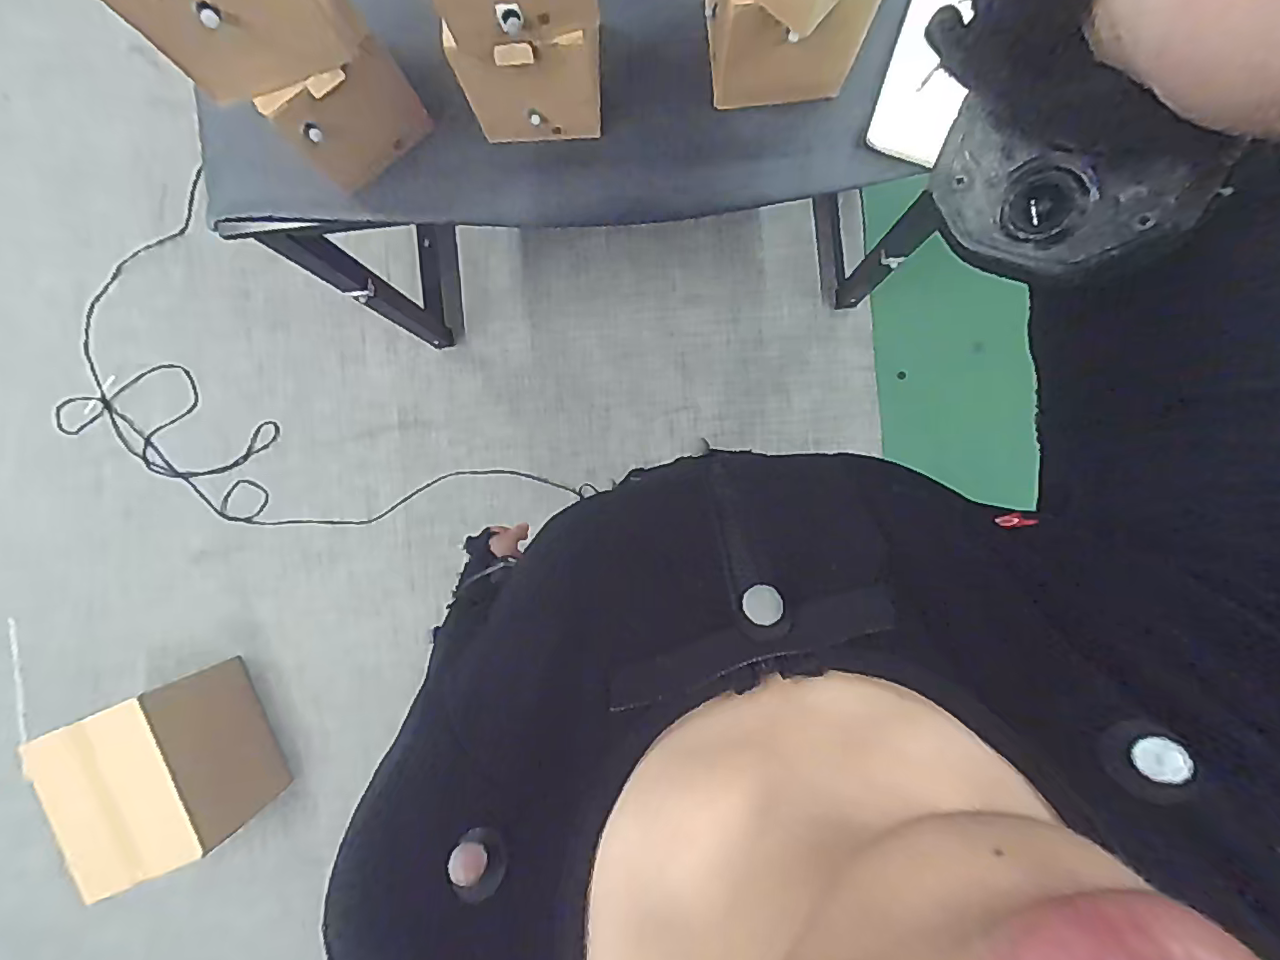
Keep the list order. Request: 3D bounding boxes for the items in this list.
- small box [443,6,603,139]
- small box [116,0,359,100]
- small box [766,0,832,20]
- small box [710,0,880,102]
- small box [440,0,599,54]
[{"bbox_3d":[-0.141,-0.583,0.700,0.168,0.176,0.179,-1,89,4],"label":"small box"},{"bbox_3d":[-0.431,-0.539,0.549,0.179,0.176,0.168,-19,88,3],"label":"small box"},{"bbox_3d":[0.166,-0.614,0.521,0.179,0.176,0.168,42,92,3],"label":"small box"},{"bbox_3d":[0.188,-0.622,0.684,0.179,0.176,0.168,-5,88,4],"label":"small box"},{"bbox_3d":[-0.145,-0.585,0.537,0.168,0.176,0.179,-13,88,4],"label":"small box"}]
